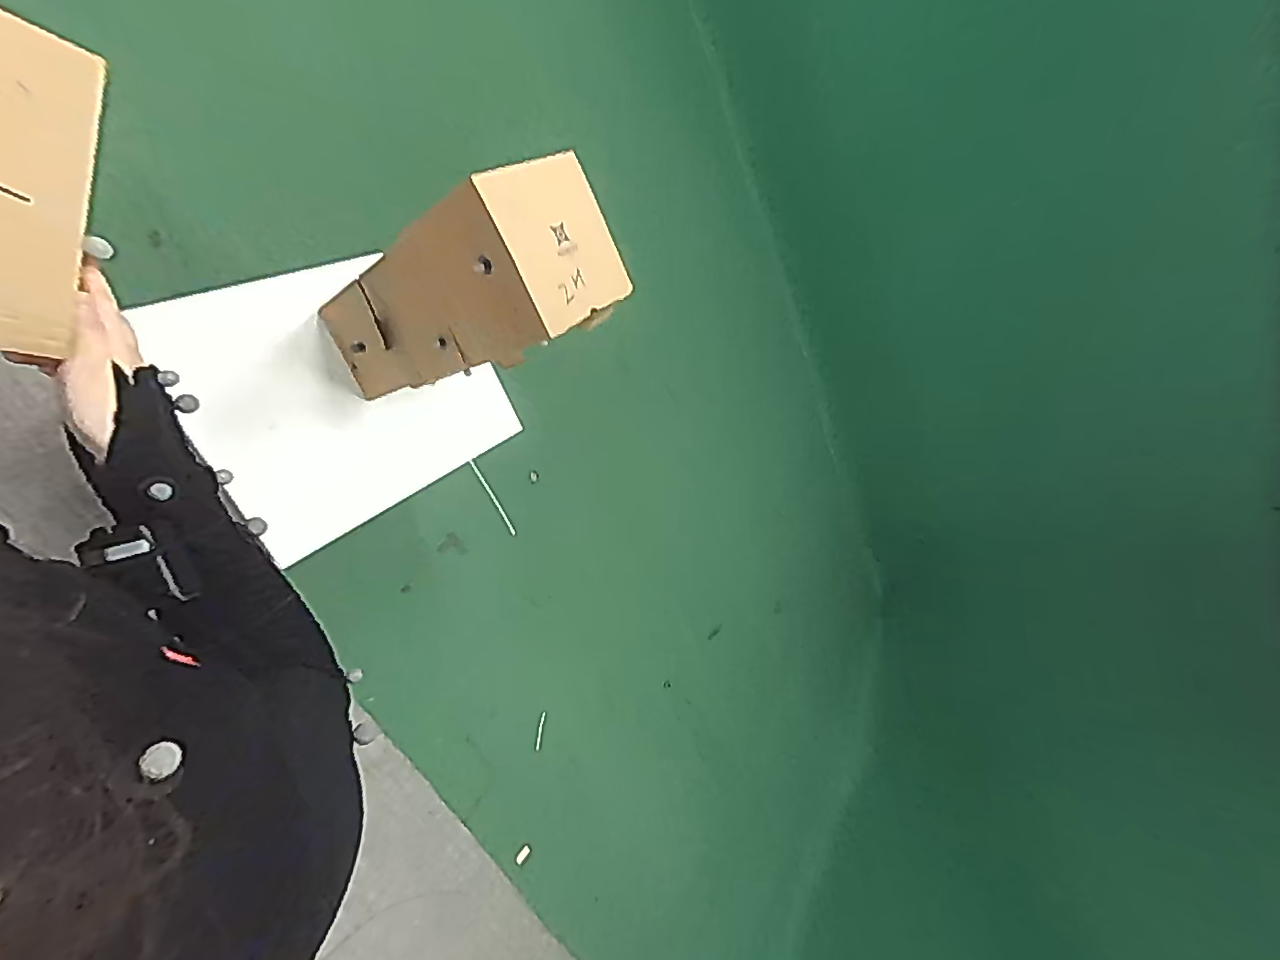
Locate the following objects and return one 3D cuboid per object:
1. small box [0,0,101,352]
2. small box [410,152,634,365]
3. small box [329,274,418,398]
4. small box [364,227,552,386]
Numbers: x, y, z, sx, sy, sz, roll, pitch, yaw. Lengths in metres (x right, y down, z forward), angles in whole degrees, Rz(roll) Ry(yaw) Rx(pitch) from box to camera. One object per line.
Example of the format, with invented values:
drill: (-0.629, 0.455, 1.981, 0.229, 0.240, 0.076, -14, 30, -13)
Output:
small box: (-0.410, -0.169, 0.272, 0.179, 0.176, 0.168, 6, 98, -50)
small box: (-0.145, -0.264, 0.664, 0.168, 0.176, 0.179, -44, 119, -39)
small box: (-0.379, -0.247, 0.891, 0.179, 0.176, 0.168, -39, 115, -41)
small box: (-0.260, -0.253, 0.780, 0.168, 0.176, 0.179, -36, 113, -43)
